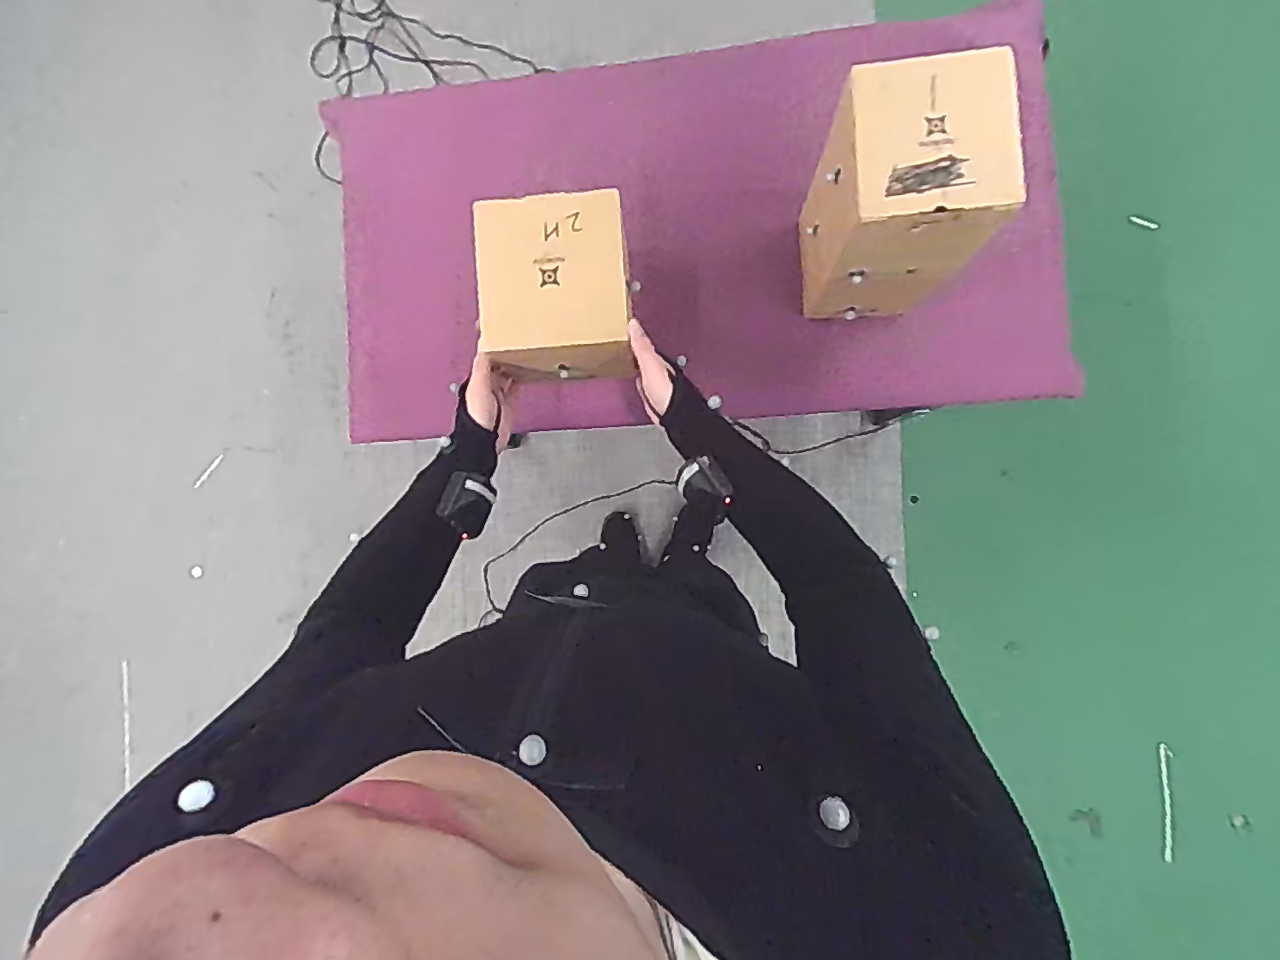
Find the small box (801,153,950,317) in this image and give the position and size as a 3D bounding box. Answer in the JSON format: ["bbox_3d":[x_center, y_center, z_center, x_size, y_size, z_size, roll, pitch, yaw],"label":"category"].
[{"bbox_3d":[0.338,-0.359,0.806,0.168,0.176,0.179,-1,88,7],"label":"small box"}]

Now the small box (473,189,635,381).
[{"bbox_3d":[-0.096,-0.225,0.671,0.168,0.176,0.179,-4,87,2],"label":"small box"}]

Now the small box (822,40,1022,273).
[{"bbox_3d":[0.318,-0.362,0.643,0.168,0.176,0.179,-2,86,7],"label":"small box"}]
